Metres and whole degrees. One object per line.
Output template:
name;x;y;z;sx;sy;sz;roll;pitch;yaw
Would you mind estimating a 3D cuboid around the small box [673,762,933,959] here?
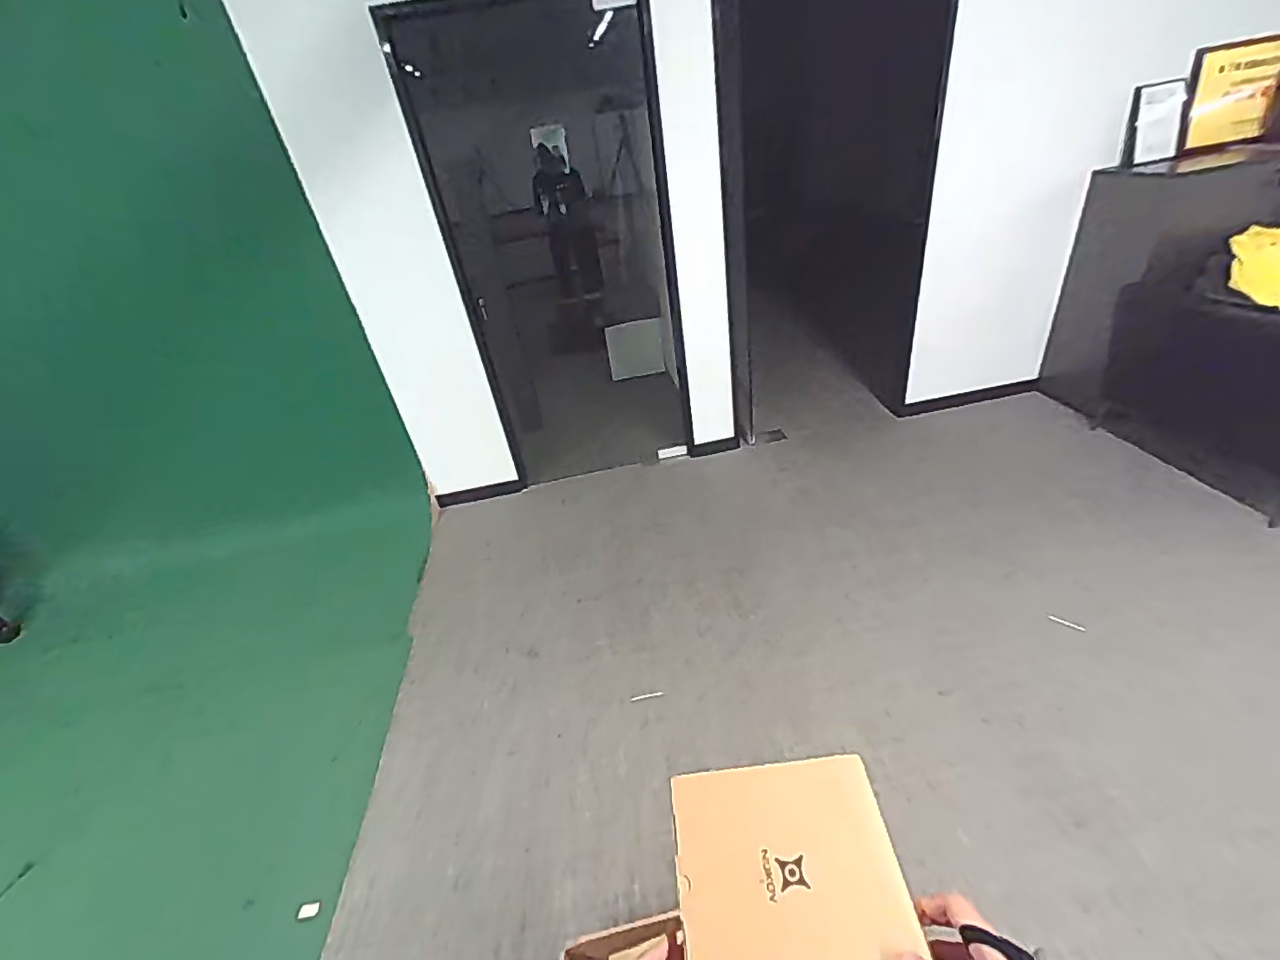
small box;0.133;0.378;0.478;0.179;0.176;0.168;-11;39;5
